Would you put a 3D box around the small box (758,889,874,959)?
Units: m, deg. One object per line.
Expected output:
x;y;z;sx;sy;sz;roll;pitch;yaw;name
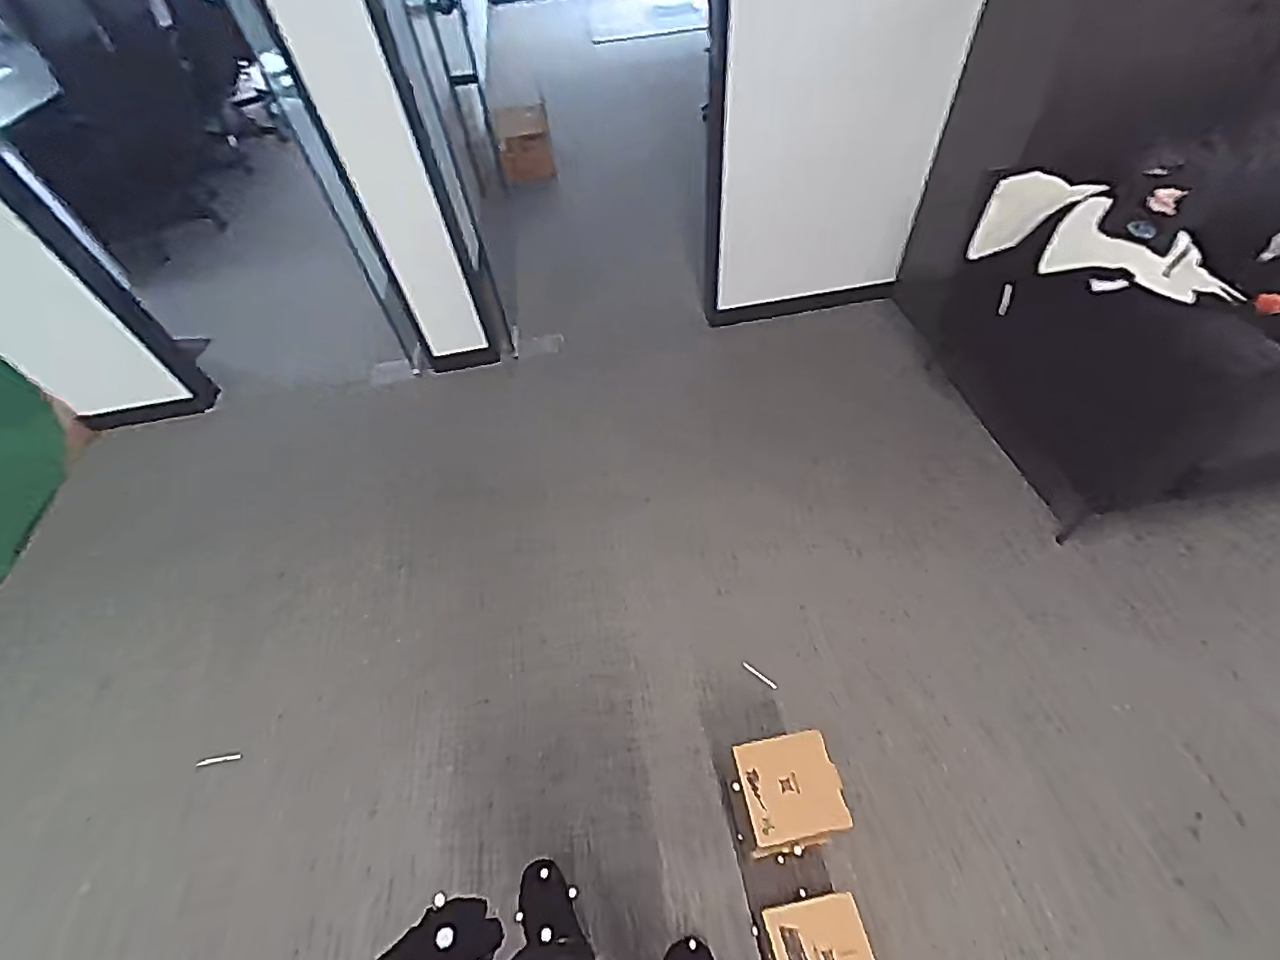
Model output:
0.330;0.895;1.021;0.179;0.176;0.168;-10;52;-4;small box

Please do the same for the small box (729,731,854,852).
0.281;0.606;1.049;0.179;0.176;0.168;-9;51;-3;small box
